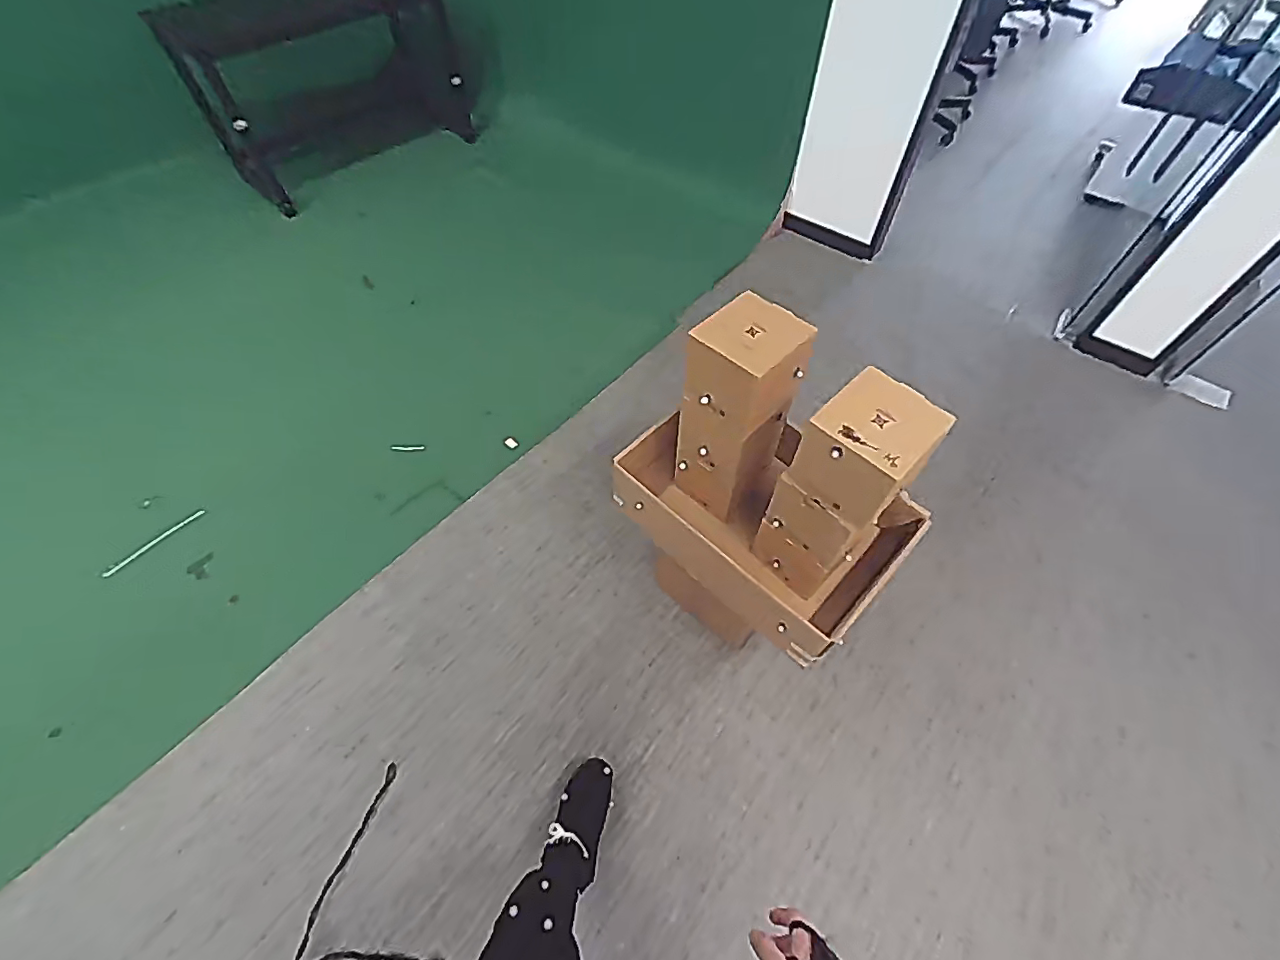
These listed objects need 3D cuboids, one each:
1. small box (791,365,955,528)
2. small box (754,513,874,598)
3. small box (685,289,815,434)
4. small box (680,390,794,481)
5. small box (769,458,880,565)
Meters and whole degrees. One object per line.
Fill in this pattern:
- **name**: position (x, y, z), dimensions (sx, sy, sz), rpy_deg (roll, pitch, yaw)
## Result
- **small box**: position (0.382, -0.054, 0.918), dimensions (0.179, 0.176, 0.168), rpy_deg (-39, 64, -22)
- **small box**: position (0.373, 0.126, 1.193), dimensions (0.179, 0.176, 0.168), rpy_deg (-39, 64, -22)
- **small box**: position (0.199, -0.223, 1.032), dimensions (0.179, 0.176, 0.168), rpy_deg (-39, 63, -23)
- **small box**: position (0.199, -0.133, 1.168), dimensions (0.168, 0.176, 0.179), rpy_deg (38, 64, 24)
- **small box**: position (0.372, 0.035, 1.057), dimensions (0.179, 0.176, 0.168), rpy_deg (-38, 64, -22)
